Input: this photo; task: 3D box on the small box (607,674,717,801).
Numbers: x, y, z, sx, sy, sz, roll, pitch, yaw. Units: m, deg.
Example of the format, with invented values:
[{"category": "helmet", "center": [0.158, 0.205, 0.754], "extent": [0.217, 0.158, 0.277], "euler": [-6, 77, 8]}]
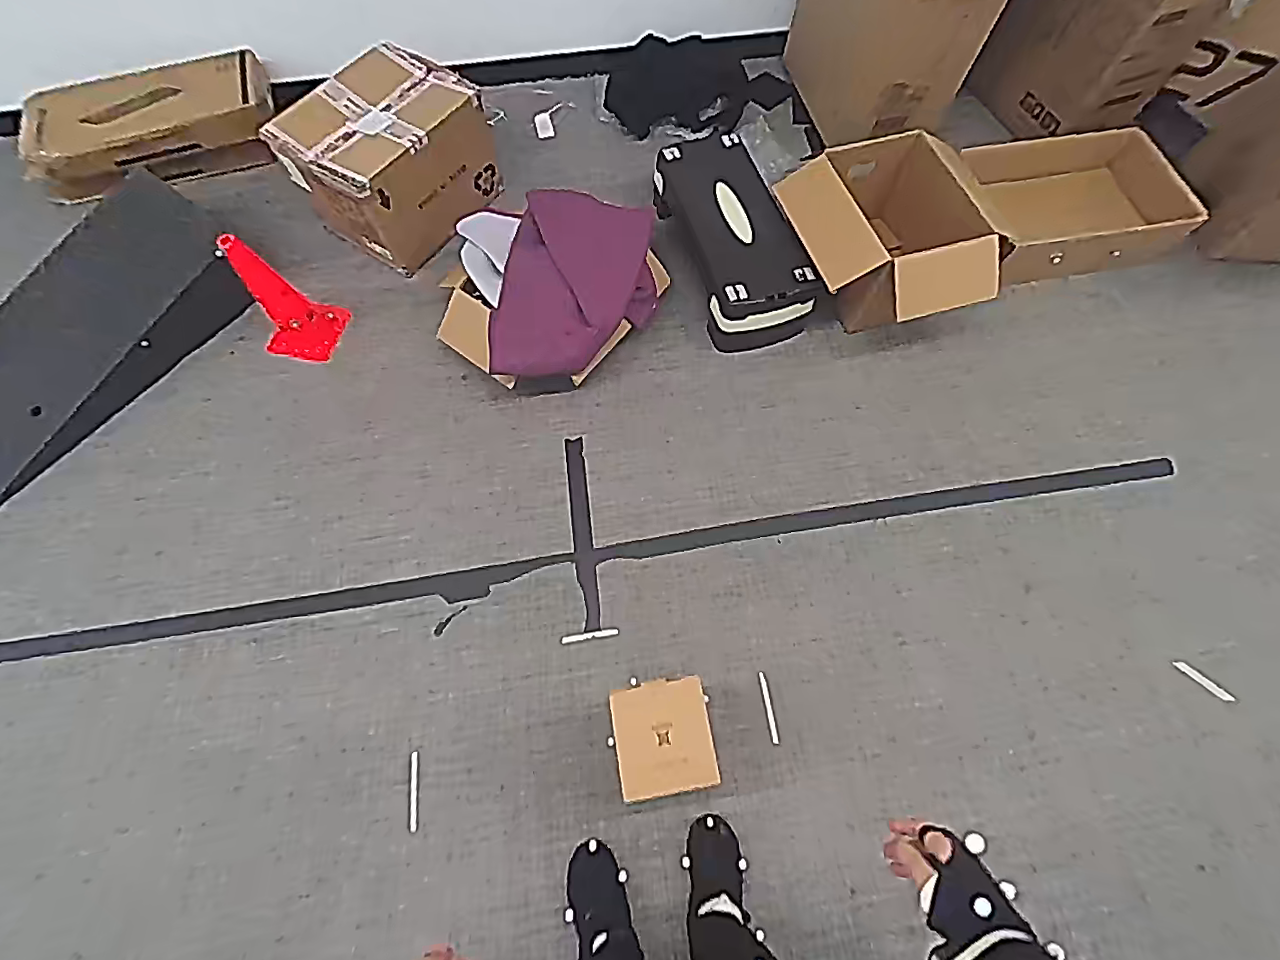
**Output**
[{"category": "small box", "center": [0.035, 0.464, 0.993], "extent": [0.168, 0.176, 0.179], "euler": [-10, 70, -3]}]
